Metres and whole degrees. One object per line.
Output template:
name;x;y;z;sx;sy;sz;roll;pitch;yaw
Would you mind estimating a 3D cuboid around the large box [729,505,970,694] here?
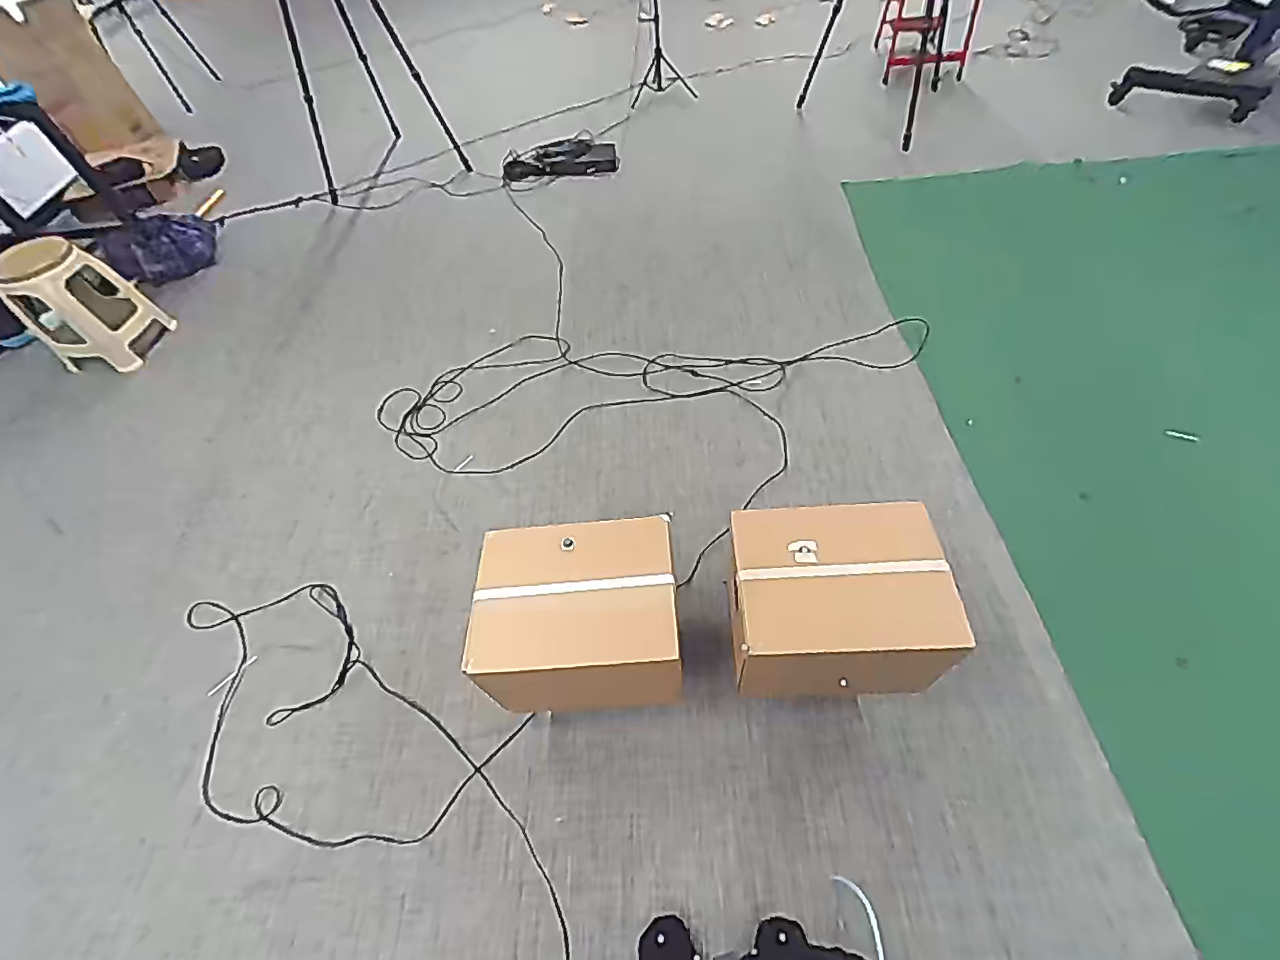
large box;0.415;0.275;1.194;0.408;0.320;0.320;-3;54;5
